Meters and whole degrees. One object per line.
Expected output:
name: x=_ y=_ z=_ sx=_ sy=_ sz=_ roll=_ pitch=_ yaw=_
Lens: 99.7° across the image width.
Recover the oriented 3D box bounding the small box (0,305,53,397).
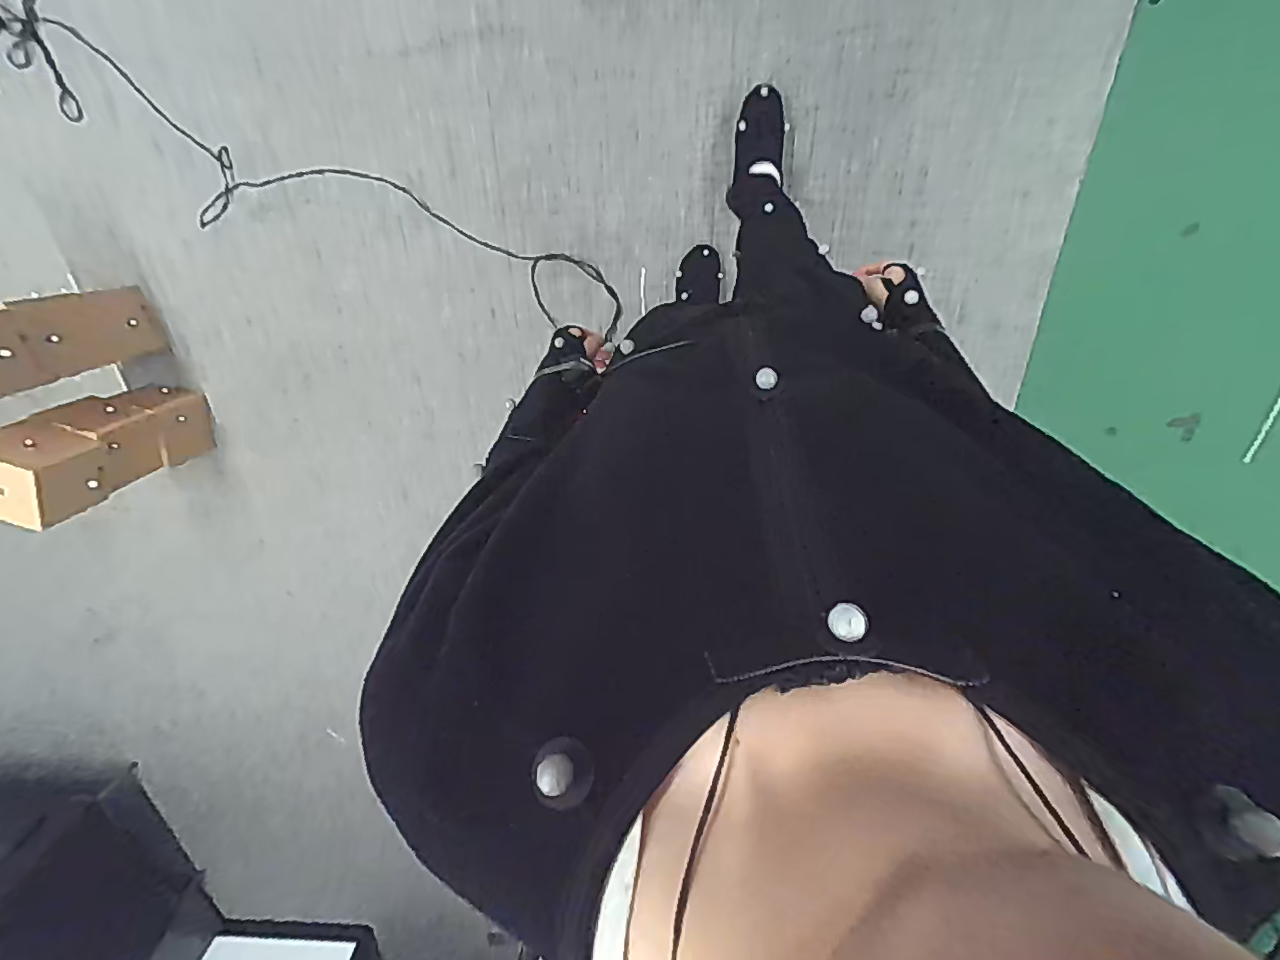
small box: x=-1.397 y=-0.261 z=1.119 sx=0.179 sy=0.176 sz=0.168 roll=-4 pitch=116 yaw=4

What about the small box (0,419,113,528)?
small box: x=-1.373 y=-0.023 z=1.237 sx=0.179 sy=0.176 sz=0.168 roll=20 pitch=115 yaw=-6

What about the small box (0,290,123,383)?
small box: x=-1.393 y=-0.331 z=1.266 sx=0.168 sy=0.176 sz=0.179 roll=-11 pitch=116 yaw=8

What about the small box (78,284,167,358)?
small box: x=-1.397 y=-0.409 z=1.410 sx=0.179 sy=0.176 sz=0.168 roll=-6 pitch=116 yaw=7

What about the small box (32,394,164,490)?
small box: x=-1.371 y=-0.098 z=1.384 sx=0.168 sy=0.176 sz=0.179 roll=16 pitch=115 yaw=-3
